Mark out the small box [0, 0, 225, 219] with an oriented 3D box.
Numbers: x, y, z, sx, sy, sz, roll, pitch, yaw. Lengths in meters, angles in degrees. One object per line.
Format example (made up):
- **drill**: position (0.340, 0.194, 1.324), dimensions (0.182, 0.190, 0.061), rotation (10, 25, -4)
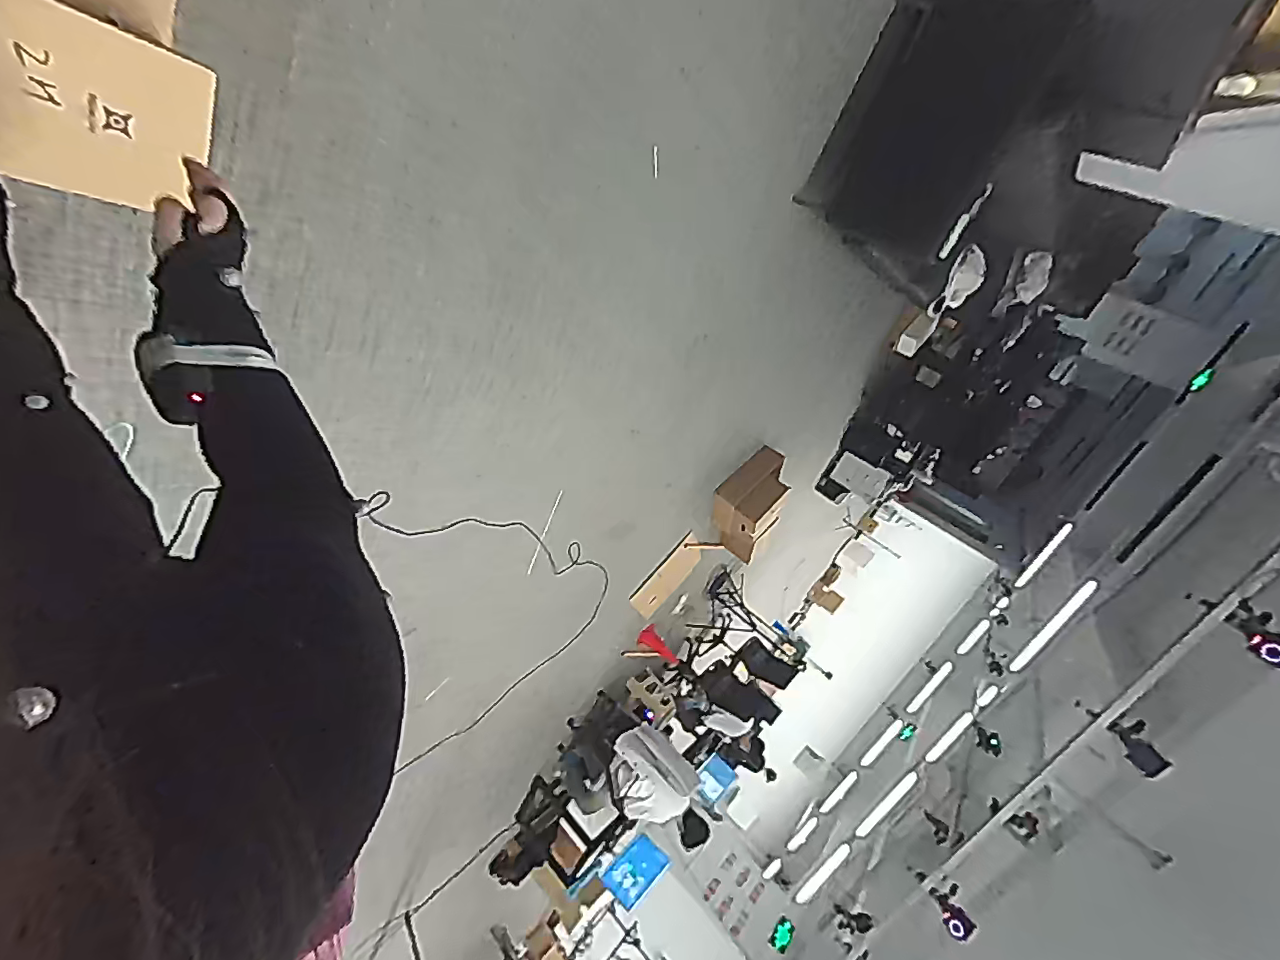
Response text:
- **small box**: position (-0.596, -0.417, 0.587), dimensions (0.179, 0.176, 0.168), rotation (-8, 129, -55)
